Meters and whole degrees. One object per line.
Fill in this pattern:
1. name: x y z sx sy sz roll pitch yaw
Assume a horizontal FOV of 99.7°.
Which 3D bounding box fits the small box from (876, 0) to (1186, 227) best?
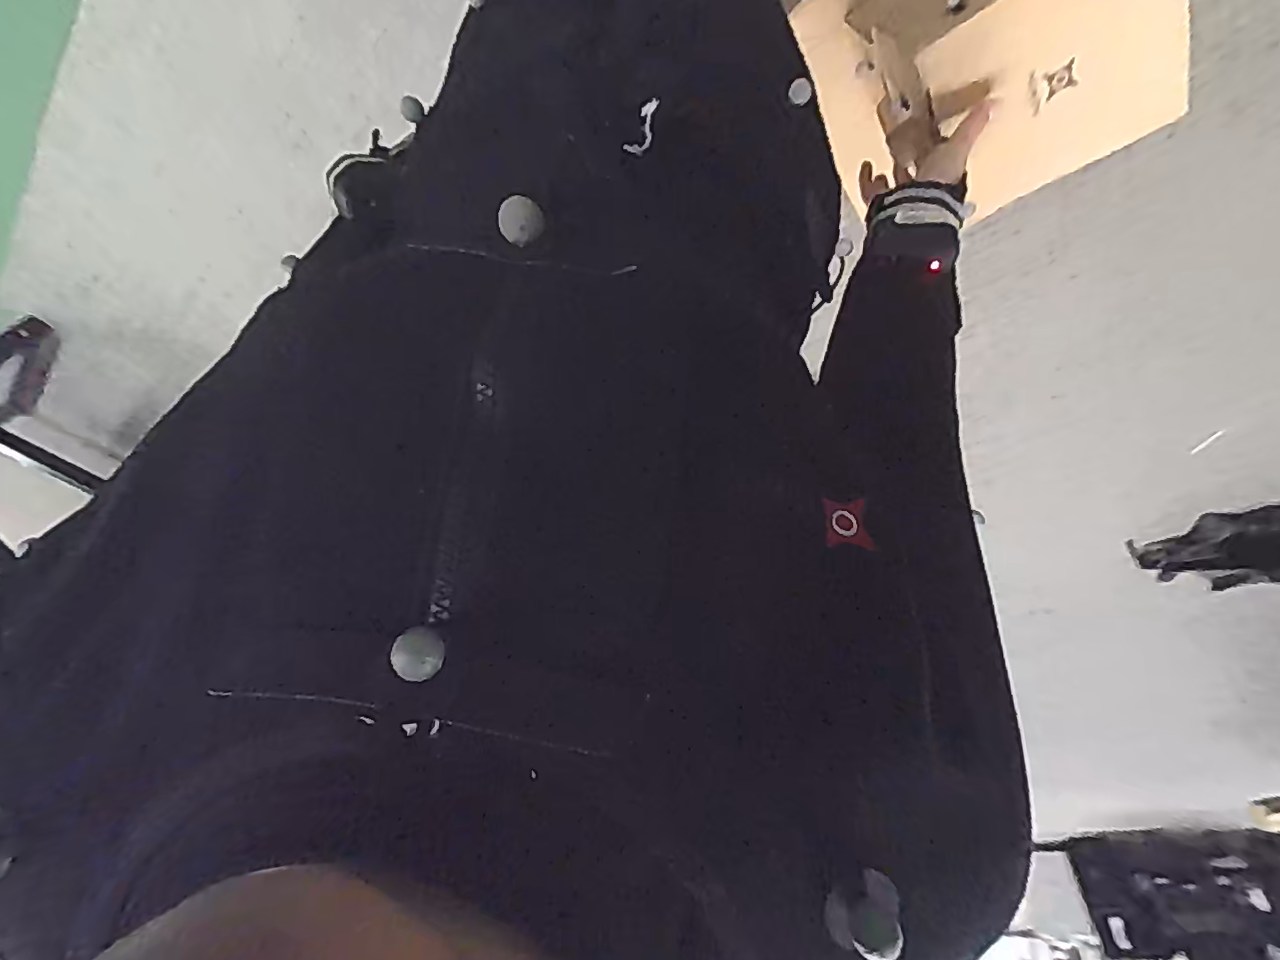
1. small box: 0.344 -0.381 0.497 0.179 0.176 0.168 -21 131 28
